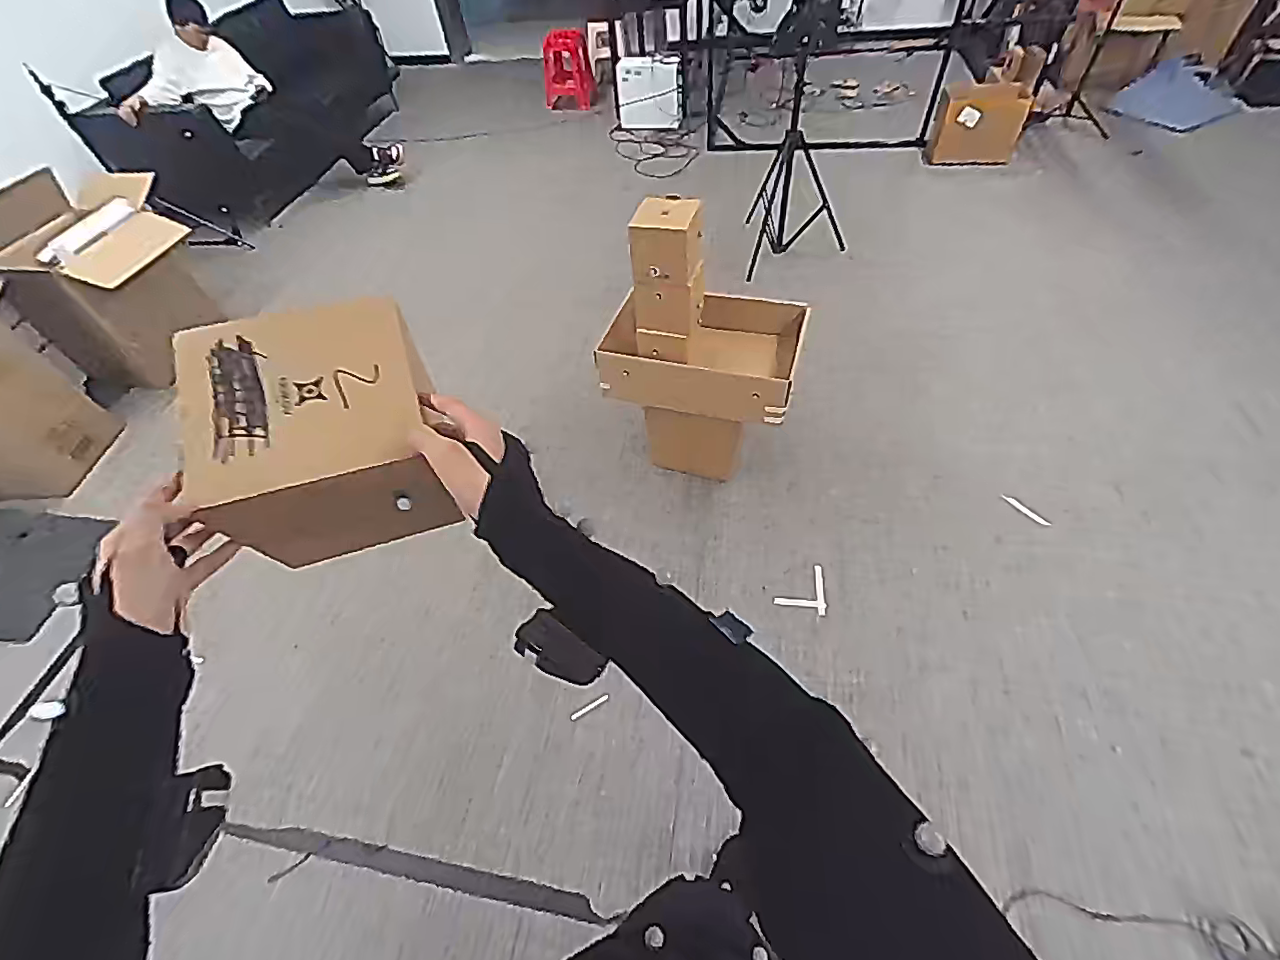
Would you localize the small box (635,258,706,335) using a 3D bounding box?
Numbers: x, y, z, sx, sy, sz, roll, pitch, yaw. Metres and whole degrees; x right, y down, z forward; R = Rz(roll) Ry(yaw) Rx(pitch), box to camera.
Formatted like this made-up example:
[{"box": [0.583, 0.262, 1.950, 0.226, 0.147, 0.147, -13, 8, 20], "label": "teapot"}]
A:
[{"box": [0.095, -0.564, 1.646, 0.179, 0.176, 0.168, 13, 53, 14], "label": "small box"}]

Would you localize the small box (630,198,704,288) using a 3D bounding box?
[{"box": [0.079, -0.667, 1.520, 0.168, 0.176, 0.179, 10, 52, 14], "label": "small box"}]

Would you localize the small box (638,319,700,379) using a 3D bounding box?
[{"box": [0.101, -0.455, 1.770, 0.168, 0.176, 0.179, 12, 53, 13], "label": "small box"}]
